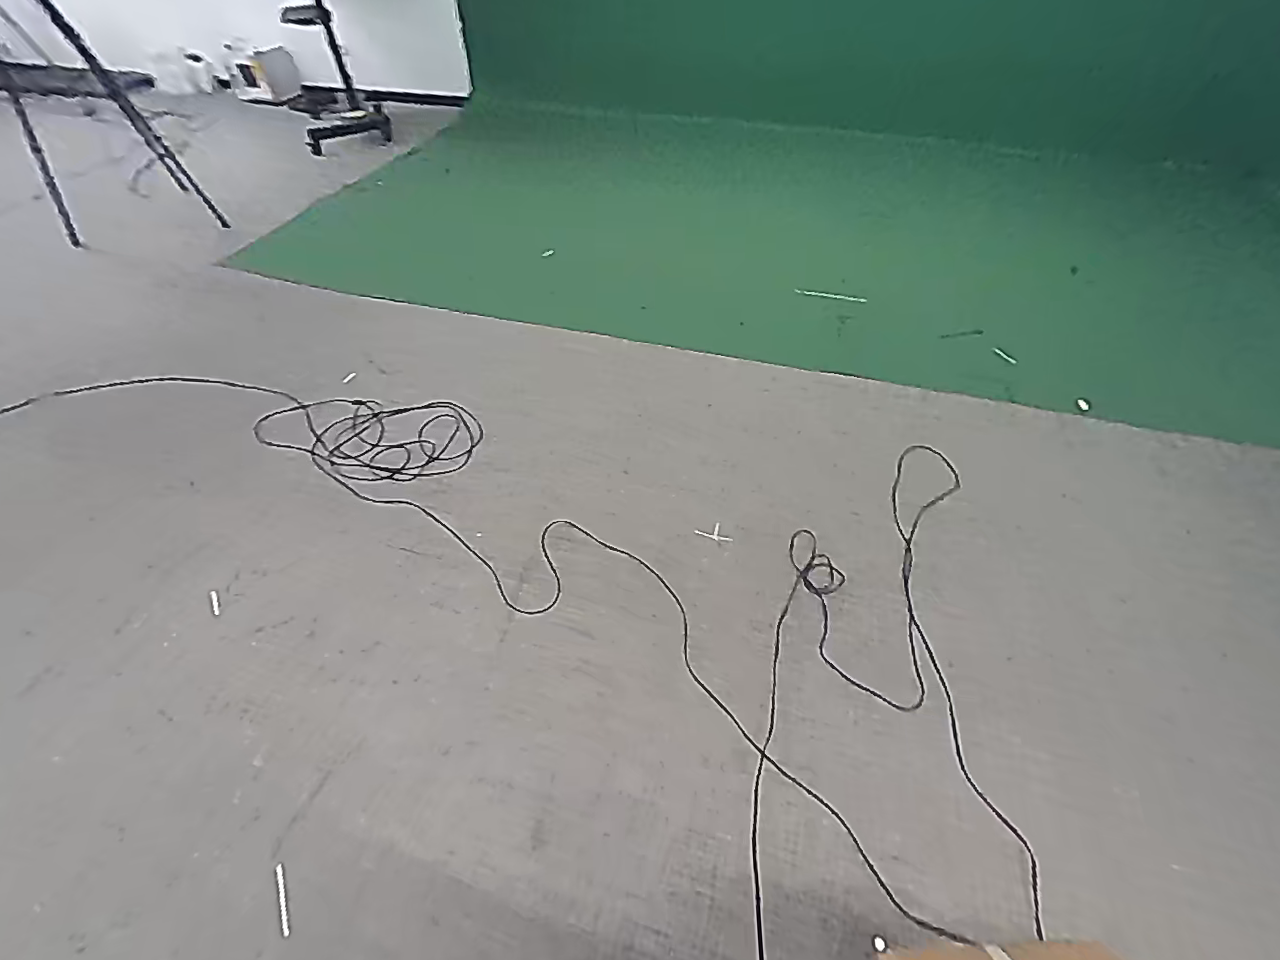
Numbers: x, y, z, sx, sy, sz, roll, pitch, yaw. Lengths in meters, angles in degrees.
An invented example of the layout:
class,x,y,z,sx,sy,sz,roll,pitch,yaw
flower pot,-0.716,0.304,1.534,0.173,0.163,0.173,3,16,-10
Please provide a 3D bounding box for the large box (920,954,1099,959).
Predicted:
class,x,y,z,sx,sy,sz,roll,pitch,yaw
large box,0.483,0.775,0.526,0.320,0.408,0.320,-2,79,2
